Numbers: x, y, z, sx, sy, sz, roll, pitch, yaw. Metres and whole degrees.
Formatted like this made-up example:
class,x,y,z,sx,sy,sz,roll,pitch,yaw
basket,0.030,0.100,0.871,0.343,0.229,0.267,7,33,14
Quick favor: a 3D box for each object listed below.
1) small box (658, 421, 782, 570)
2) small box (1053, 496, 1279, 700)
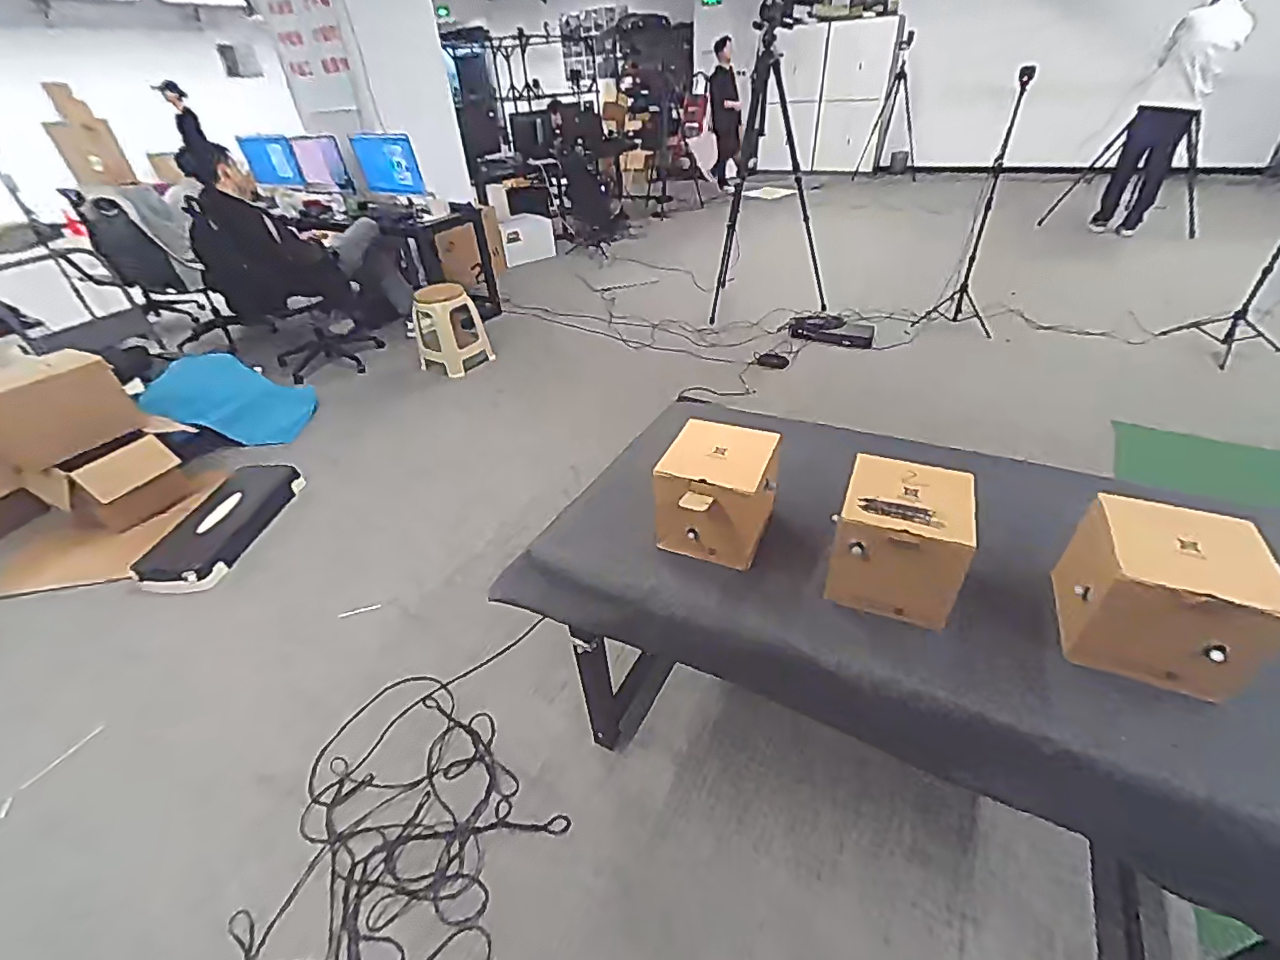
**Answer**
class,x,y,z,sx,sy,sz,roll,pitch,yaw
small box,0.137,0.024,0.935,0.168,0.176,0.179,13,40,21
small box,0.678,0.151,0.710,0.168,0.176,0.179,14,39,21
